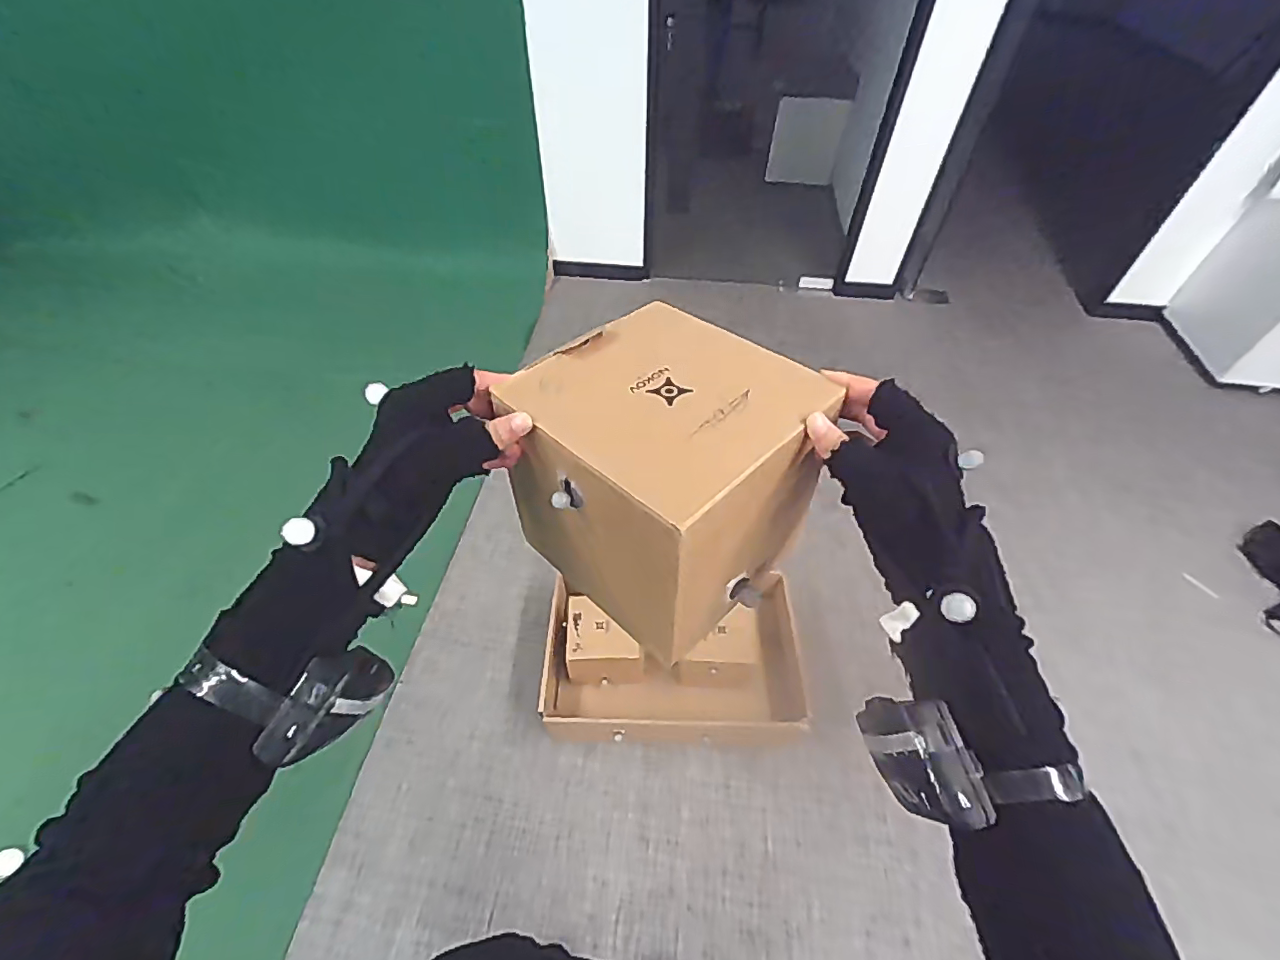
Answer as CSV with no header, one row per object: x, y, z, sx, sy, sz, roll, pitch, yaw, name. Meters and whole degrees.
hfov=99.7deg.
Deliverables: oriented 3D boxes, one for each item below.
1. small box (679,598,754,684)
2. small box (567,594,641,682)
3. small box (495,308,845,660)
0.189,0.411,1.385,0.179,0.176,0.168,2,50,2,small box
-0.092,0.406,1.383,0.179,0.176,0.168,0,50,-3,small box
0.017,0.000,0.414,0.168,0.176,0.179,-36,56,-29,small box
